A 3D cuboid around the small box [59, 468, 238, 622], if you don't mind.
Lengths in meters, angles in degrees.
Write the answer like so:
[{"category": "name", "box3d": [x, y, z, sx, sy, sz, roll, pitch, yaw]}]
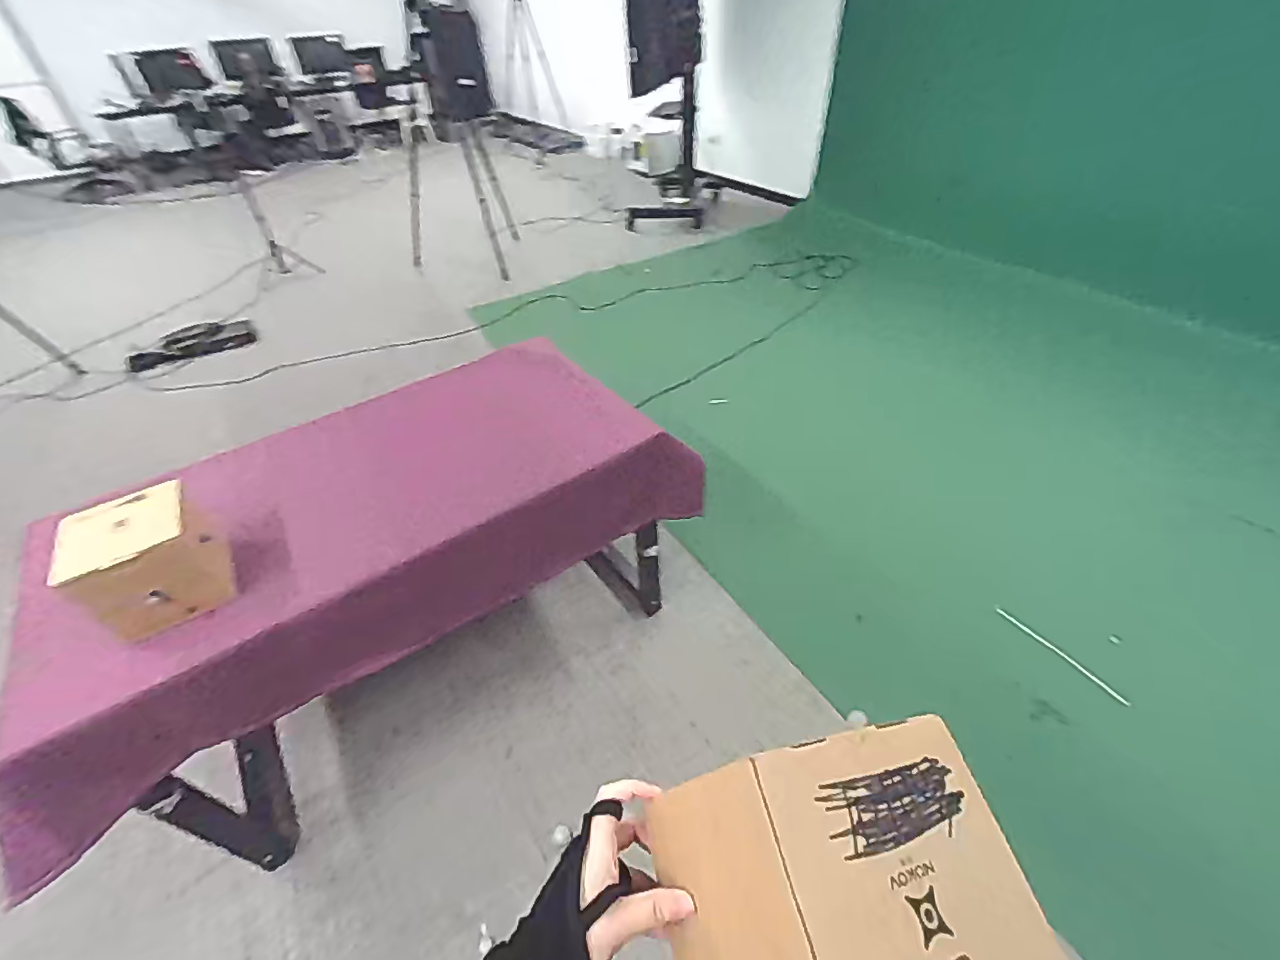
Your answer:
[{"category": "small box", "box3d": [-0.823, 0.116, 0.924, 0.168, 0.176, 0.179, -25, 48, -23]}]
